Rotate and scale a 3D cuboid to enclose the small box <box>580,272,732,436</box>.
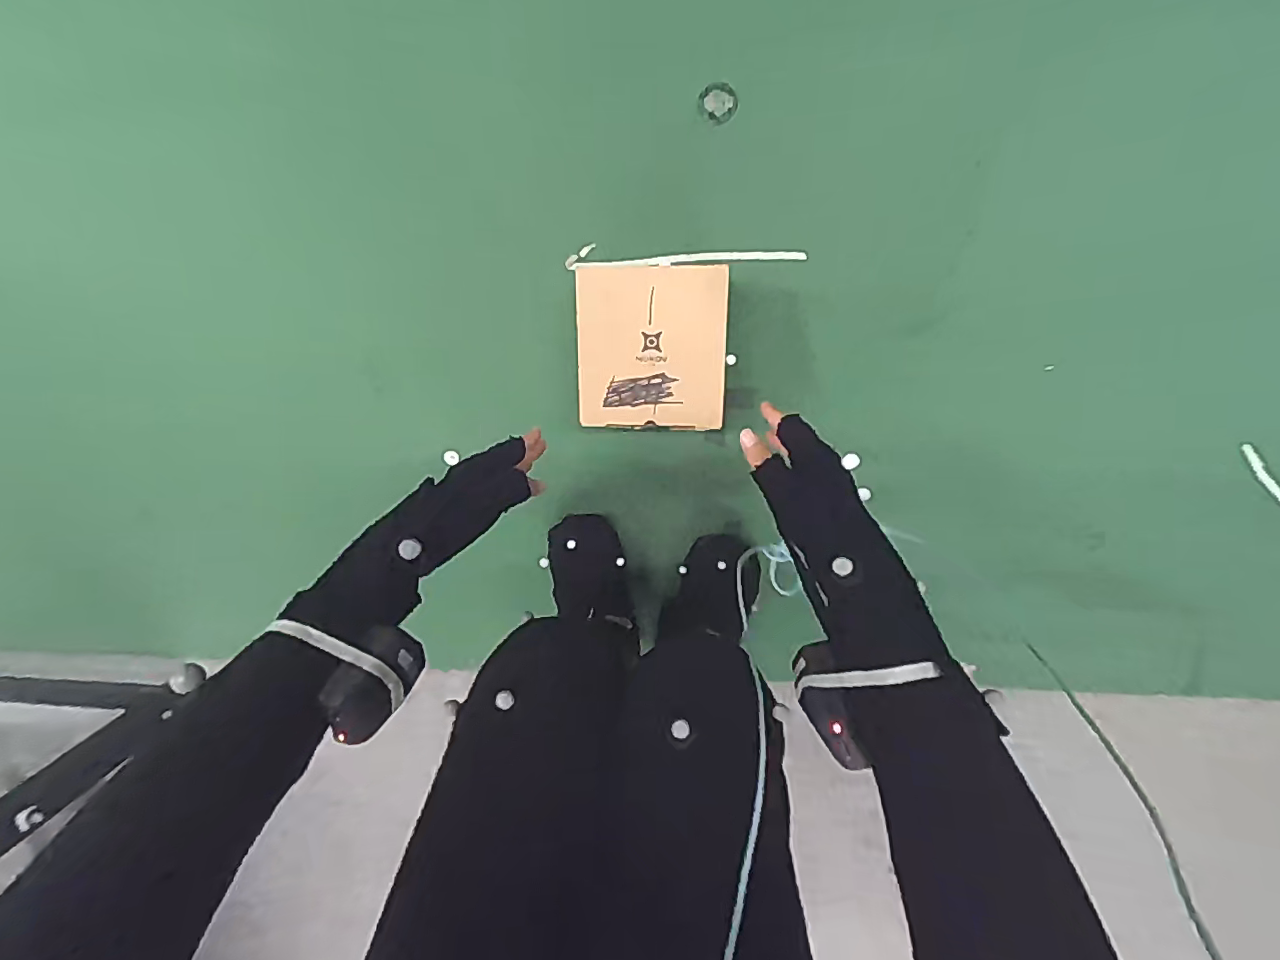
[{"bbox_3d":[0.025,-0.158,0.671,0.168,0.176,0.179,2,106,6],"label":"small box"}]
